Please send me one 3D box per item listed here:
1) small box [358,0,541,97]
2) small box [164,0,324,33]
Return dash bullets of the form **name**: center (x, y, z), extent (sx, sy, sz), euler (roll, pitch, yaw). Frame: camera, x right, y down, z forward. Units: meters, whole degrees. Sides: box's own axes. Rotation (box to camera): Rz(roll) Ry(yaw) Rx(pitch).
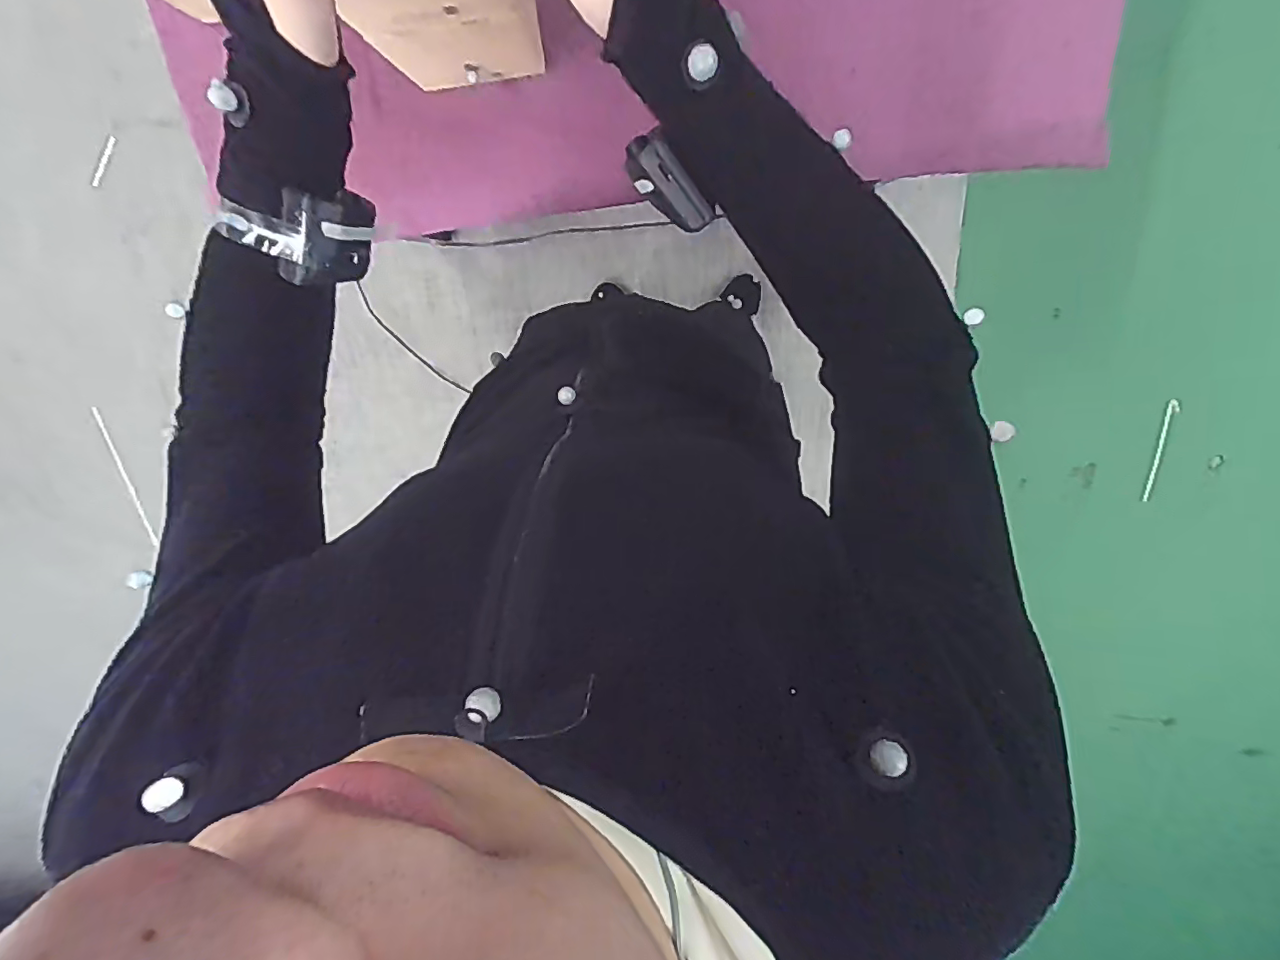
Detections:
- **small box**: center (-0.218, -0.569, 0.607), extent (0.168, 0.176, 0.179), euler (-6, 110, 4)
- **small box**: center (-0.489, -0.638, 0.588), extent (0.168, 0.176, 0.179), euler (-7, 110, 4)
